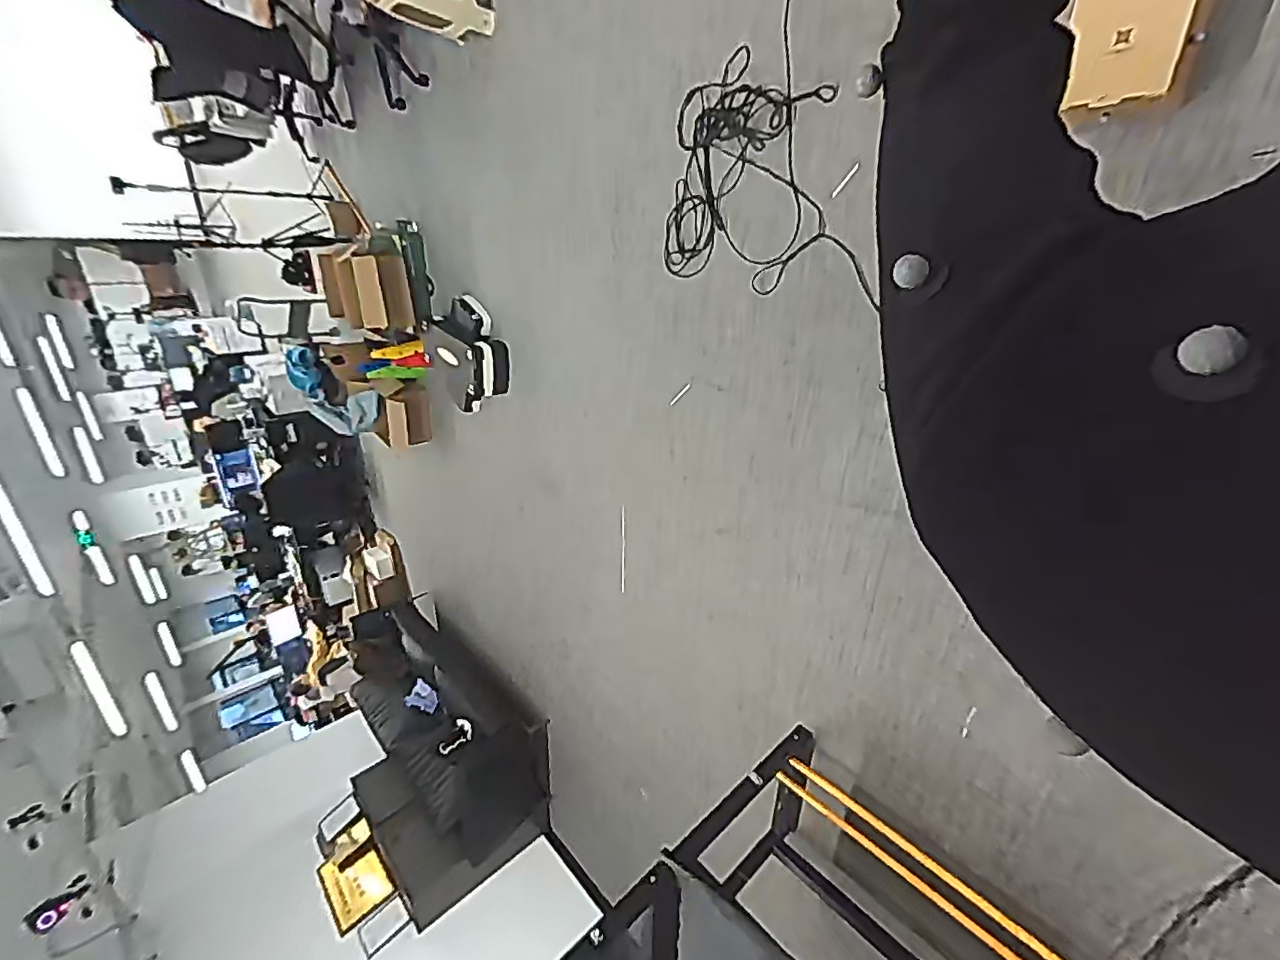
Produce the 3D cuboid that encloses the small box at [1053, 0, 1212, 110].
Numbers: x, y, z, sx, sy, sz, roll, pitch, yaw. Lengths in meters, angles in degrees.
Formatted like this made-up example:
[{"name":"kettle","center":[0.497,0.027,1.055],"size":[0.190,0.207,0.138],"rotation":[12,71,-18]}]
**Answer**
[{"name":"small box","center":[0.861,-0.773,0.943],"size":[0.168,0.176,0.179],"rotation":[23,123,43]}]
